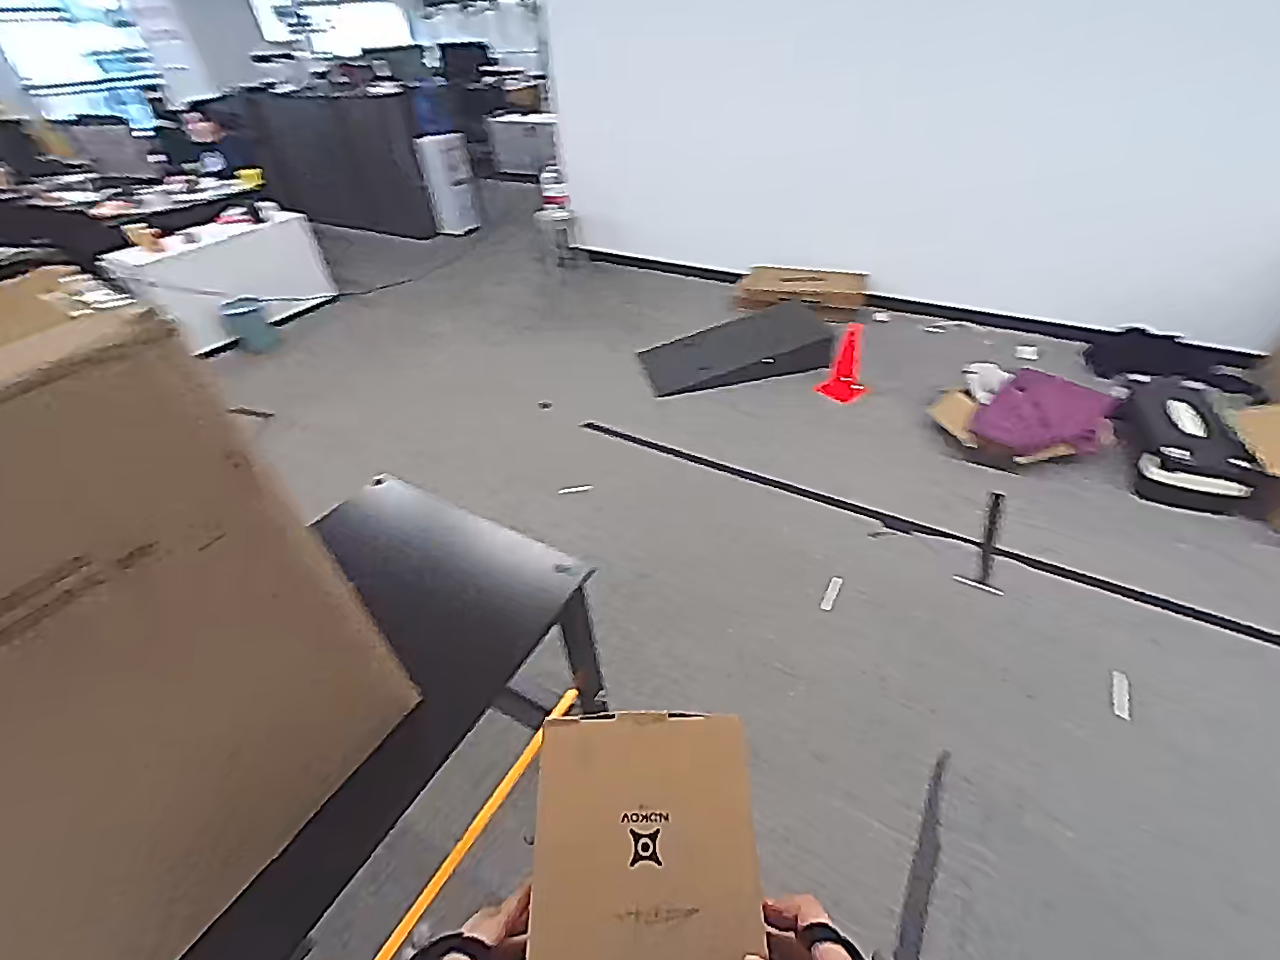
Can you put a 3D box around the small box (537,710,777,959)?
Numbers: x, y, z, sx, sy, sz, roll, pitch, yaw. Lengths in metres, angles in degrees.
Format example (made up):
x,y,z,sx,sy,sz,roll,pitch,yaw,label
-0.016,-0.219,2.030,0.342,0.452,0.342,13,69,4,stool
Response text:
x,y,z,sx,sy,sz,roll,pitch,yaw,label
0.011,0.309,0.469,0.168,0.176,0.179,-1,57,0,small box
